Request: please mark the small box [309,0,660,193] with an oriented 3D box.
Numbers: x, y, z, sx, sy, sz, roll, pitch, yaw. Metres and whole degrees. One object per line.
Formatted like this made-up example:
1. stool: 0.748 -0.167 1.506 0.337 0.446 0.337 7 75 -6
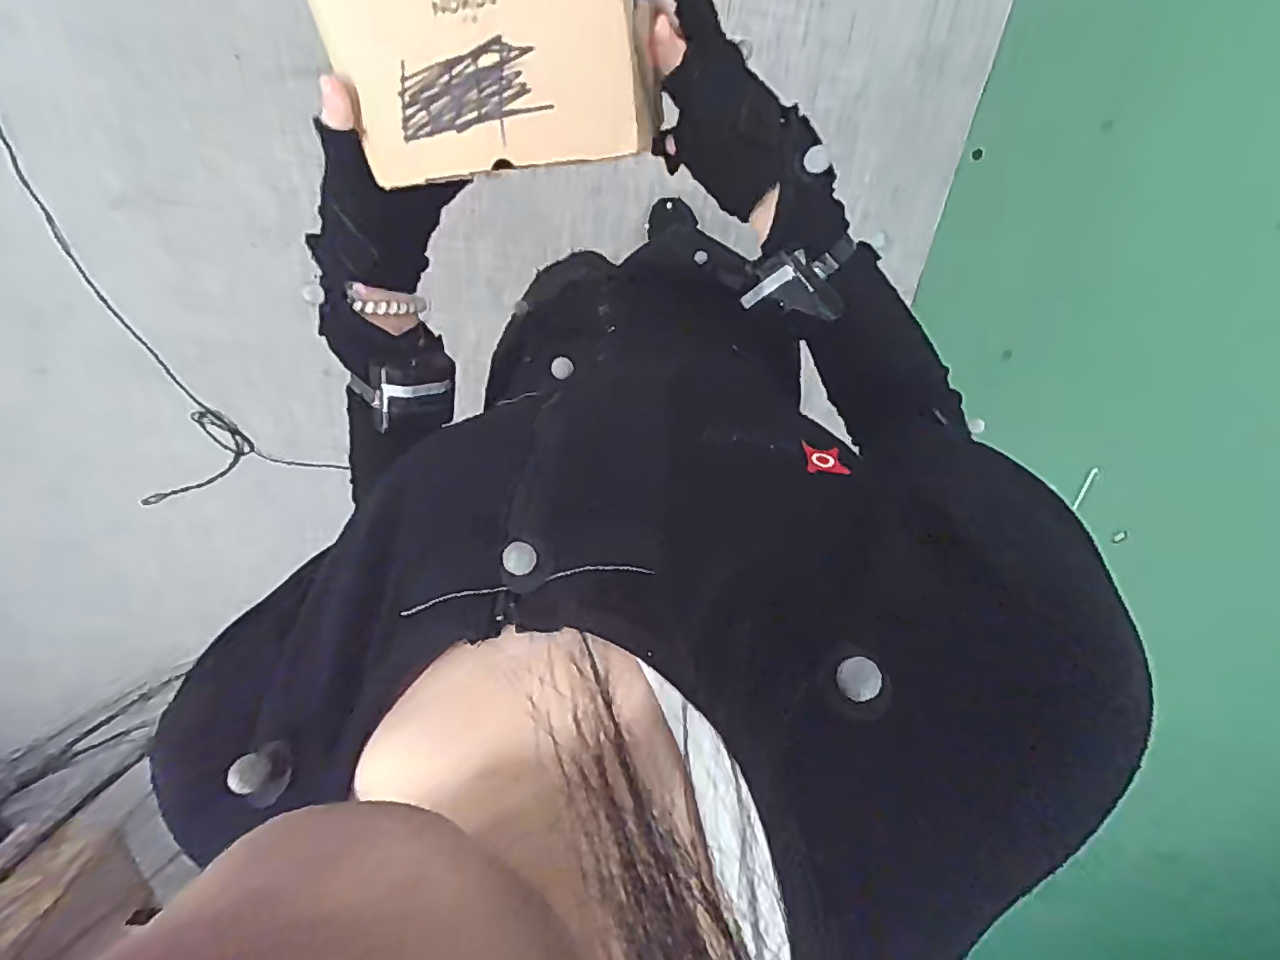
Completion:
1. small box: -0.083 -0.300 0.335 0.168 0.176 0.179 -3 127 10
